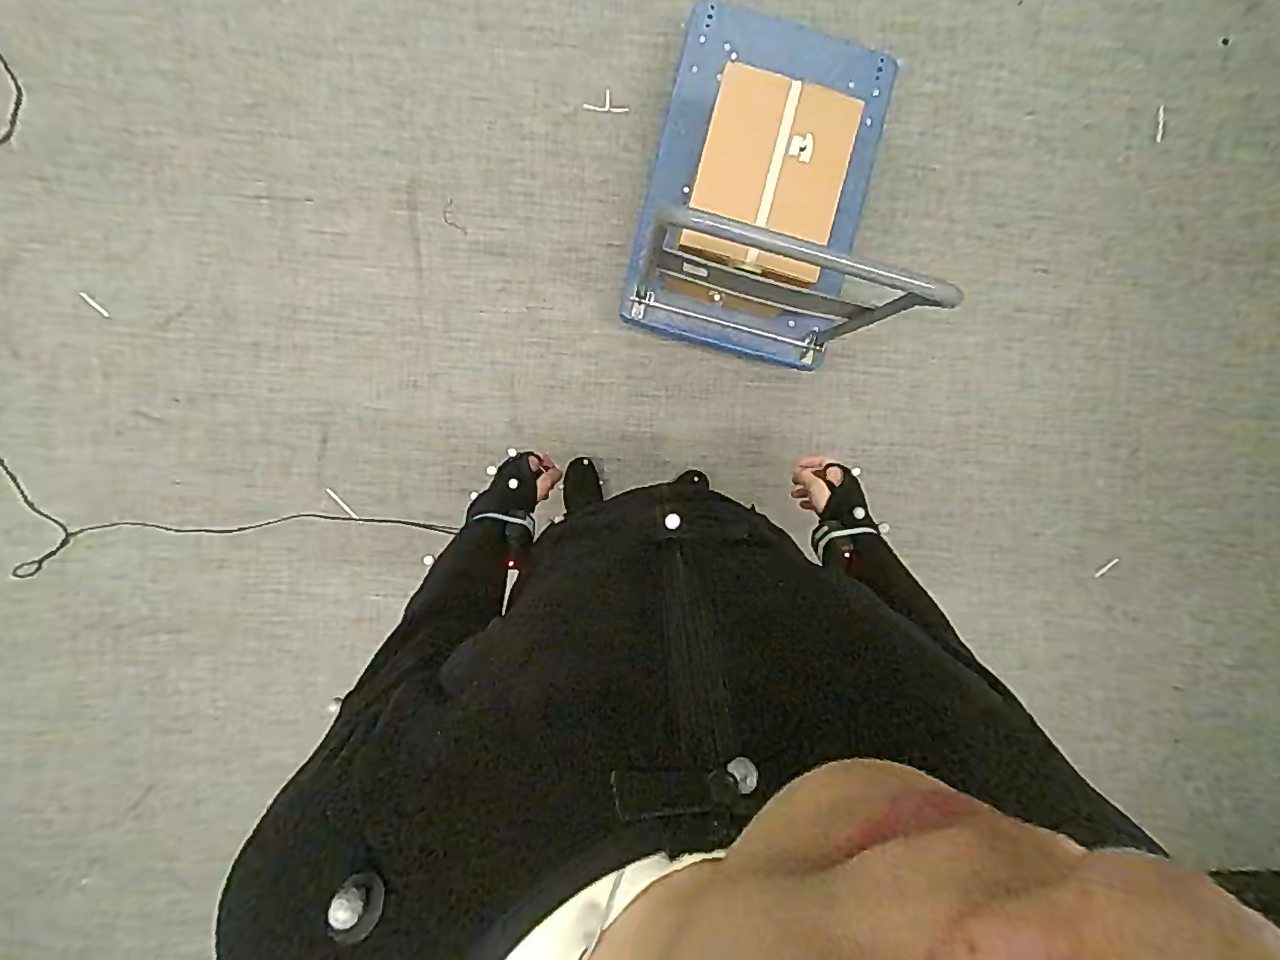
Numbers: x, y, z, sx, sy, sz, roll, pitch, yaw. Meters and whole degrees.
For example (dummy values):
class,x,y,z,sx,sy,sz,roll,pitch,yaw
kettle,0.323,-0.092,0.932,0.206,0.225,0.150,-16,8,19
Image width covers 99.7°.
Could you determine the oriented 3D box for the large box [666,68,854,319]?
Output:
class,x,y,z,sx,sy,sz,roll,pitch,yaw
large box,0.266,-0.656,1.313,0.320,0.320,0.408,14,90,-4
